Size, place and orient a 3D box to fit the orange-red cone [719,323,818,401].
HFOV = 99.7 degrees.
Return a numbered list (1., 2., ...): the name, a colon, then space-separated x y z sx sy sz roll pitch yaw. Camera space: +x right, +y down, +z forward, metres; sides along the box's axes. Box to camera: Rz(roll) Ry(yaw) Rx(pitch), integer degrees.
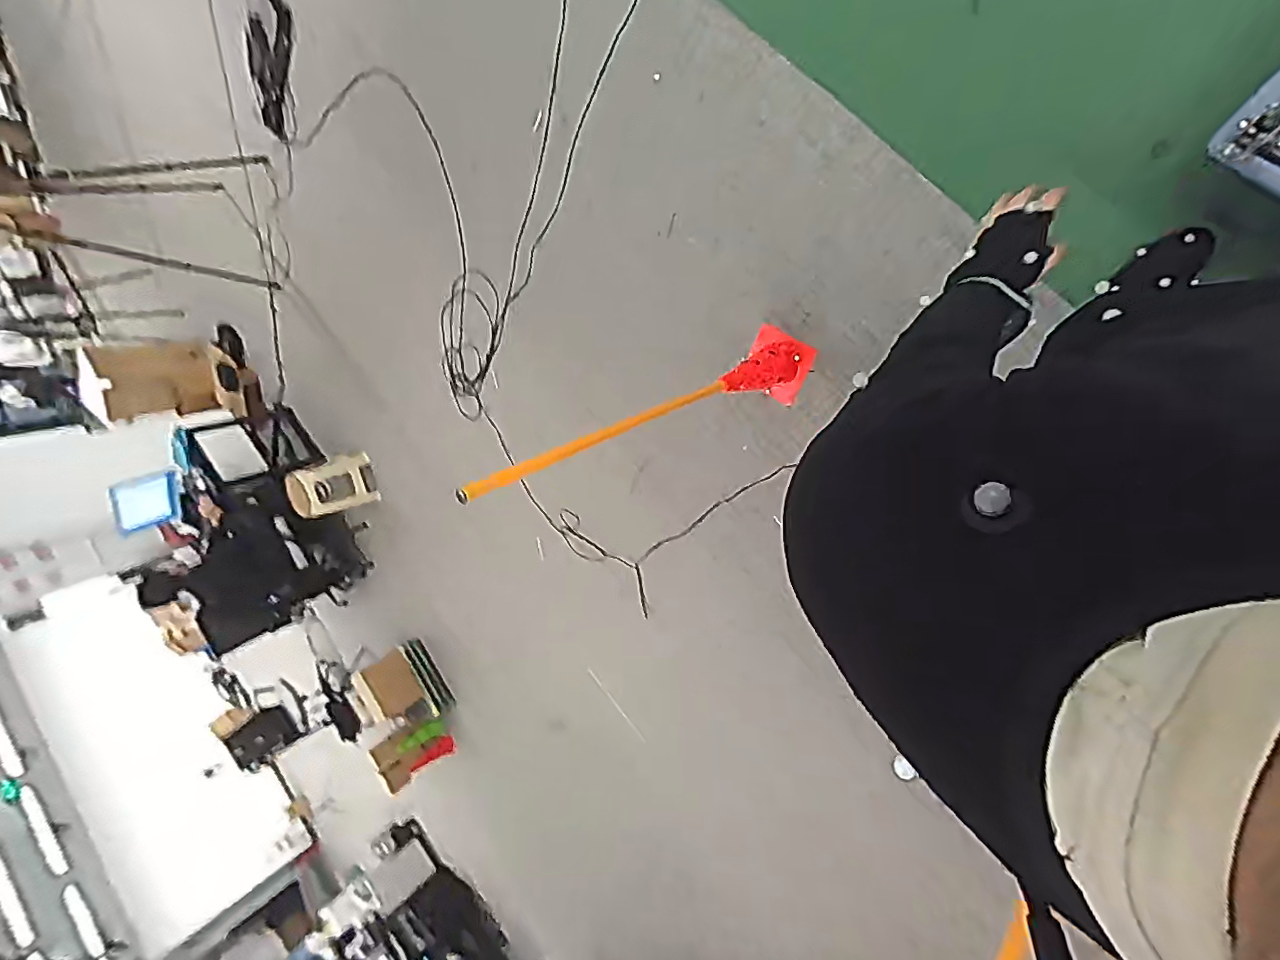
1. orange-red cone: 0.336 -0.322 1.587 0.199 0.360 0.198 39 129 23
